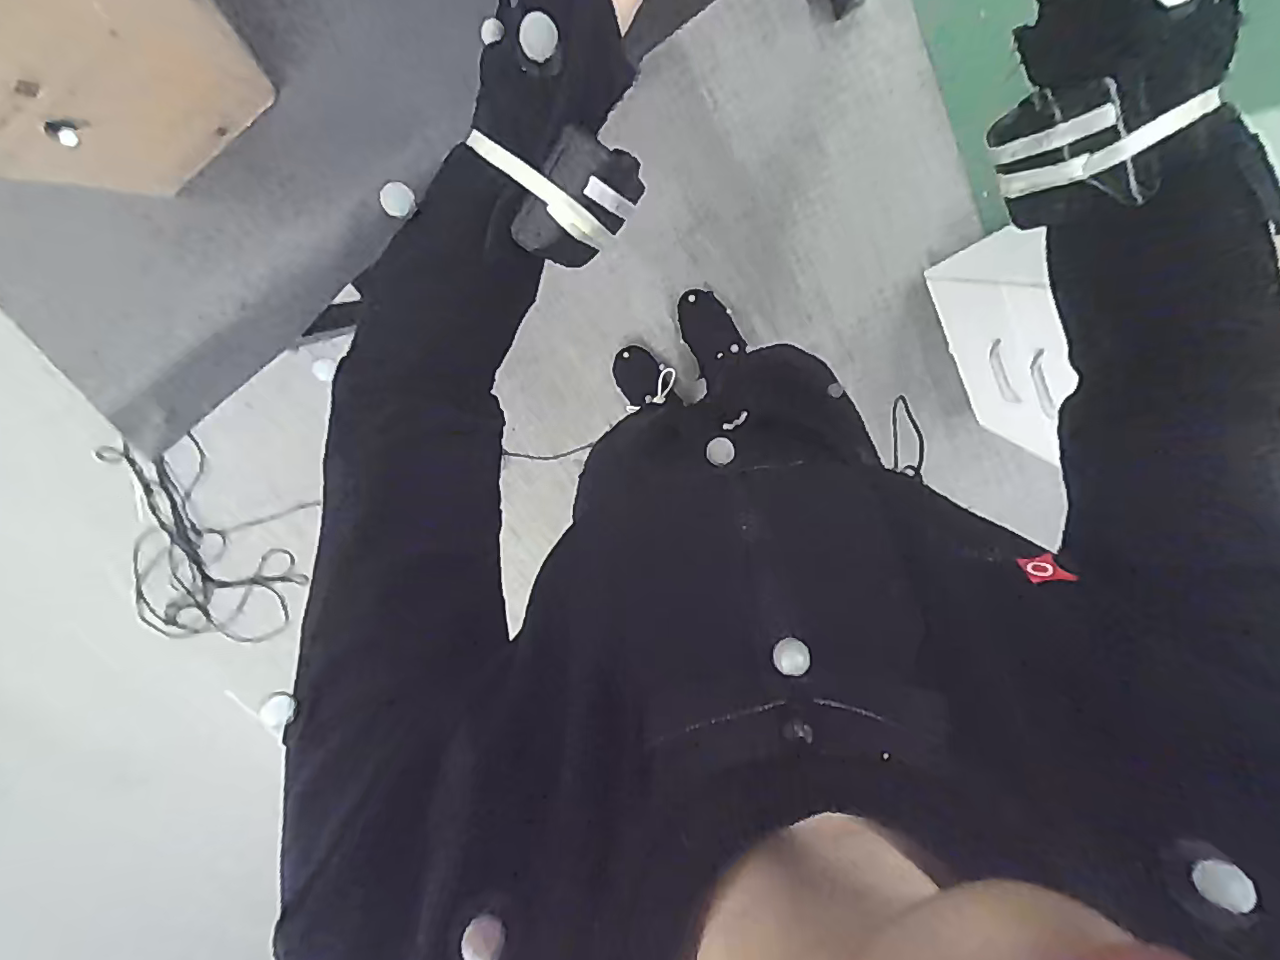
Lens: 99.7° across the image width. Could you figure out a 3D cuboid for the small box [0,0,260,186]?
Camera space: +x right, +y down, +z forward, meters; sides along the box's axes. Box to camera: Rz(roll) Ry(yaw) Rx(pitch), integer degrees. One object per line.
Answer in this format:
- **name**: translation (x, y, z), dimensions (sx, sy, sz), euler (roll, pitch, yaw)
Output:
- **small box**: translation (-0.458, -0.360, 0.415), dimensions (0.168, 0.176, 0.179), euler (-29, 108, 13)
